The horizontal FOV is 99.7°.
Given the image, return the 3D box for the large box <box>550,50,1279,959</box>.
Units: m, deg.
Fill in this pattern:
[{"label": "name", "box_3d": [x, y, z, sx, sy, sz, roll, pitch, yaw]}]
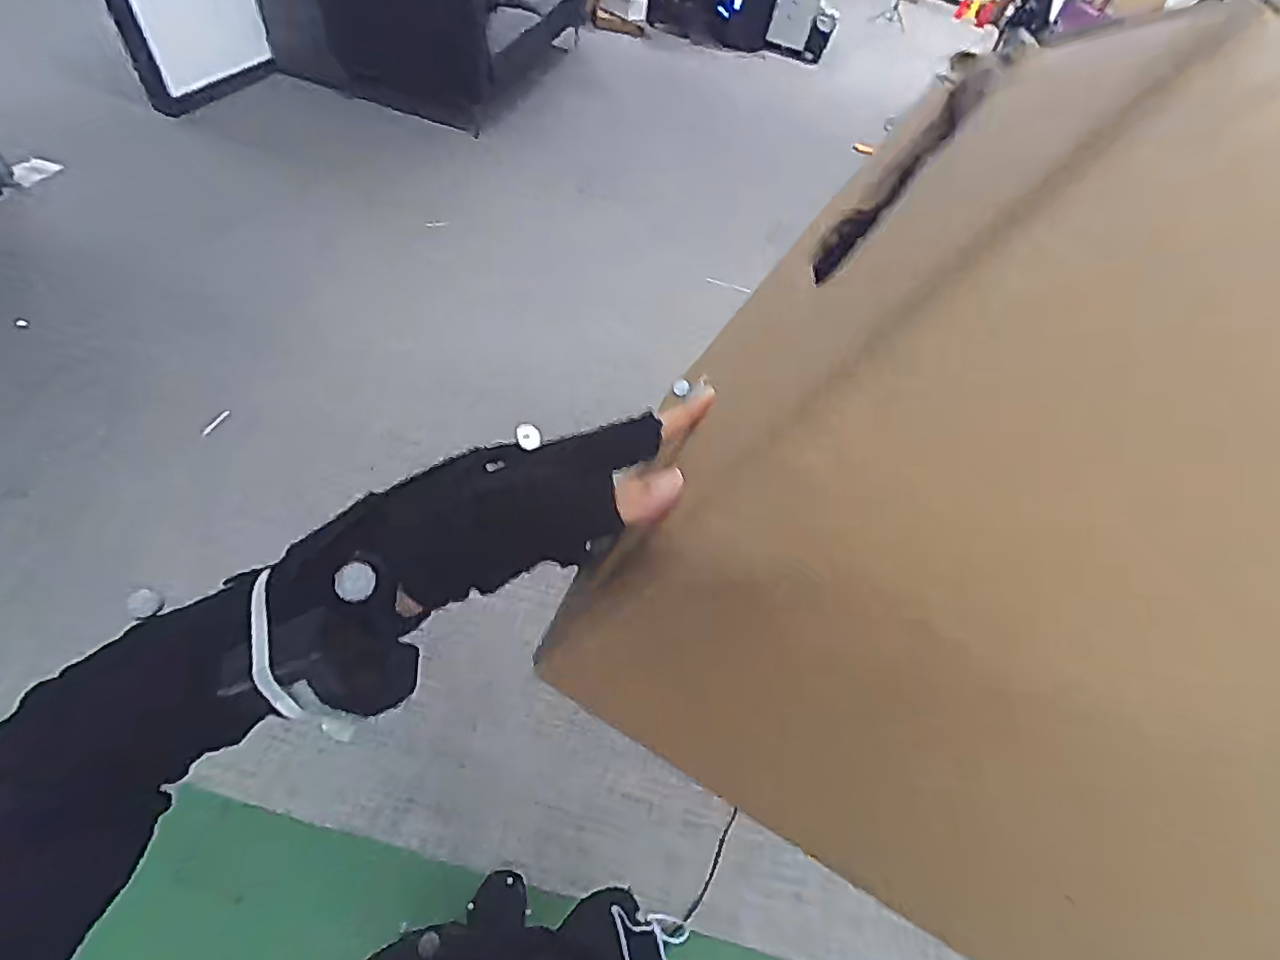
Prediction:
[{"label": "large box", "box_3d": [0.221, 0.036, 0.348, 0.408, 0.320, 0.320, 37, 37, -8]}]
